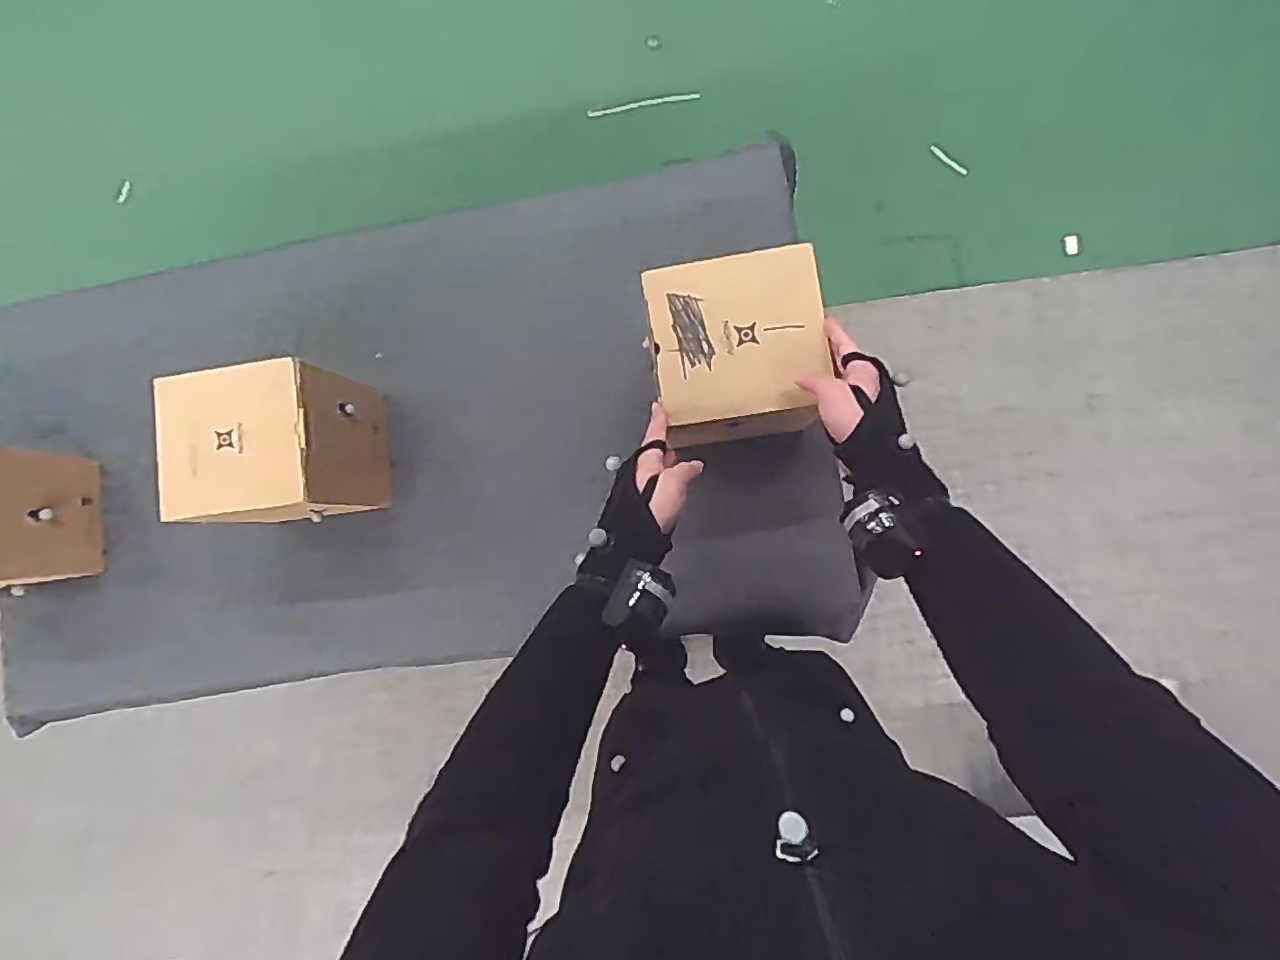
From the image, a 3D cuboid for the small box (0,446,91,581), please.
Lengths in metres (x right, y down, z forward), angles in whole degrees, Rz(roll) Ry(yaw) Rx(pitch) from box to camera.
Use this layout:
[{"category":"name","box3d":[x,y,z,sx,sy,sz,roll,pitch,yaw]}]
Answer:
[{"category":"small box","box3d":[-0.861,0.048,0.689,0.179,0.176,0.168,-8,84,3]}]

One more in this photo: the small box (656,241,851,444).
[{"category":"small box","box3d":[0.116,-0.140,0.613,0.179,0.176,0.168,-7,85,3]}]

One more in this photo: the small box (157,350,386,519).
[{"category":"small box","box3d":[-0.431,-0.044,0.661,0.179,0.176,0.168,-8,83,6]}]
